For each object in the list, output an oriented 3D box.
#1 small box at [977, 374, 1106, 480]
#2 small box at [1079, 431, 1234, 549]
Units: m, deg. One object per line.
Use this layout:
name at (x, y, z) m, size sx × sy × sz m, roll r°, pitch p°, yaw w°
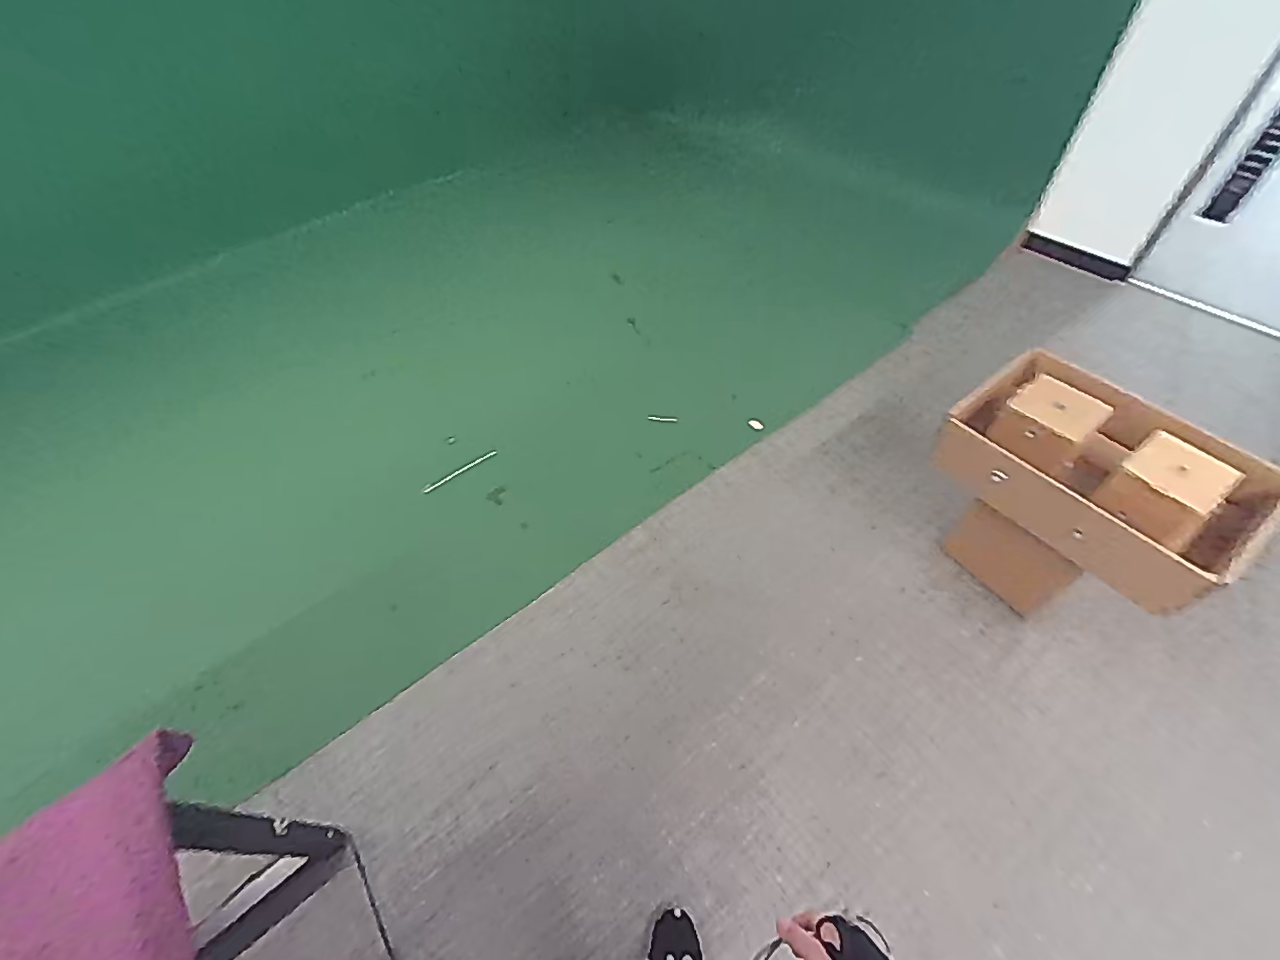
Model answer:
small box at (1.015, -0.131, 1.385) m, size 0.168 × 0.176 × 0.179 m, roll -34°, pitch 59°, yaw -19°
small box at (1.180, 0.025, 1.252) m, size 0.179 × 0.176 × 0.168 m, roll -32°, pitch 57°, yaw -17°
